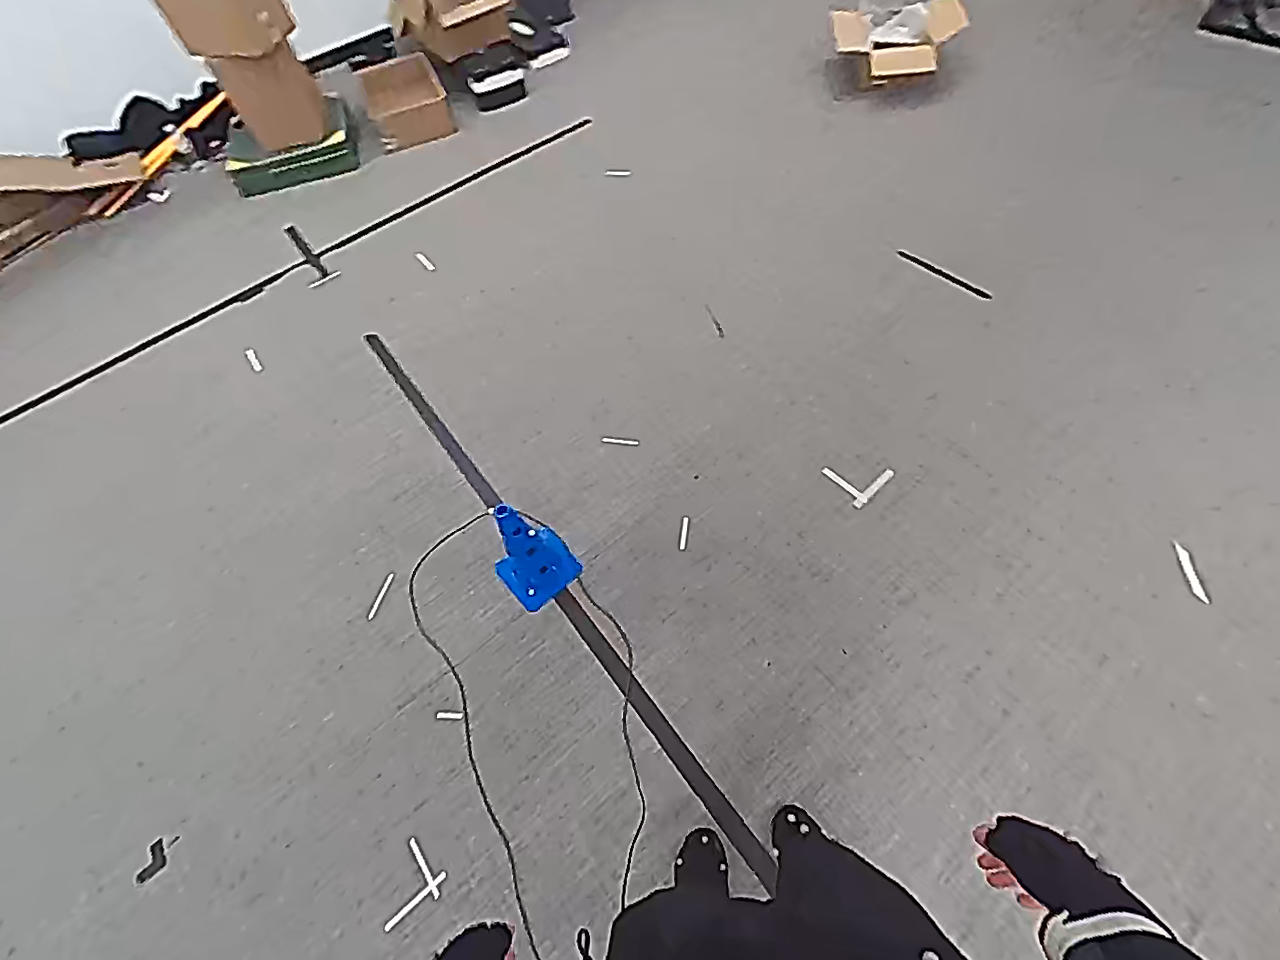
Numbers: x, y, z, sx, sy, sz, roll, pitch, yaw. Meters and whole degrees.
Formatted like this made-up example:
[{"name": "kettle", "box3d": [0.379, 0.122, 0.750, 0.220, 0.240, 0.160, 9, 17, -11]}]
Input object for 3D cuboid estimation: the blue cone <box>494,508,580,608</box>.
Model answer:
[{"name": "blue cone", "box3d": [-0.301, 0.167, 1.412, 0.192, 0.380, 0.193, -41, 64, -18]}]
